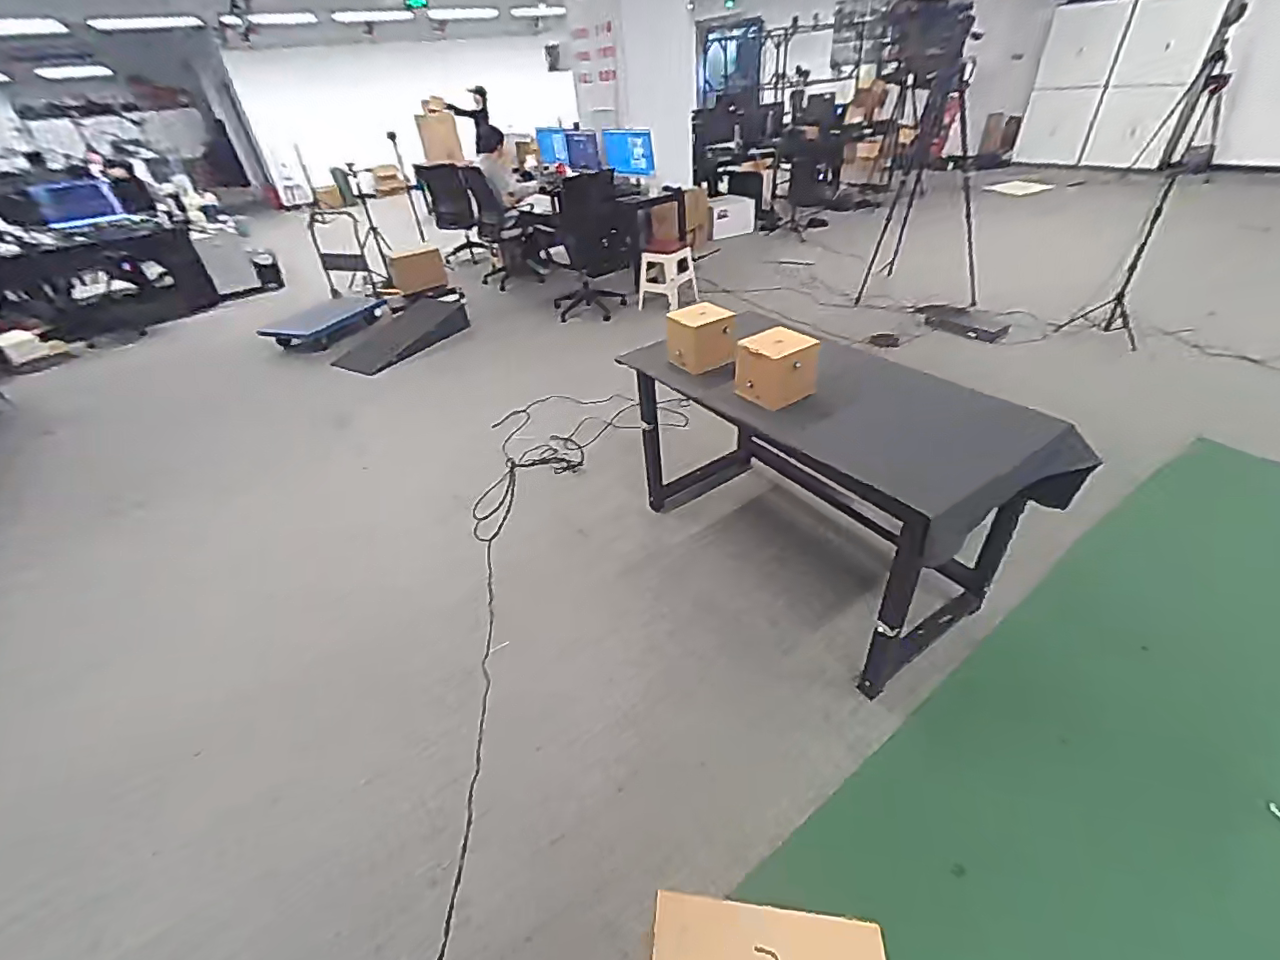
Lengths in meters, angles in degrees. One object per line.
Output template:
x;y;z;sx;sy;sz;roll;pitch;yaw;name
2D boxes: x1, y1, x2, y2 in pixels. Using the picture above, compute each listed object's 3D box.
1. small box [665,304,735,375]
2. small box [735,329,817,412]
0.198;-0.477;1.833;0.179;0.176;0.168;-23;40;-24;small box
0.398;-0.327;1.614;0.179;0.176;0.168;-24;41;-24;small box
